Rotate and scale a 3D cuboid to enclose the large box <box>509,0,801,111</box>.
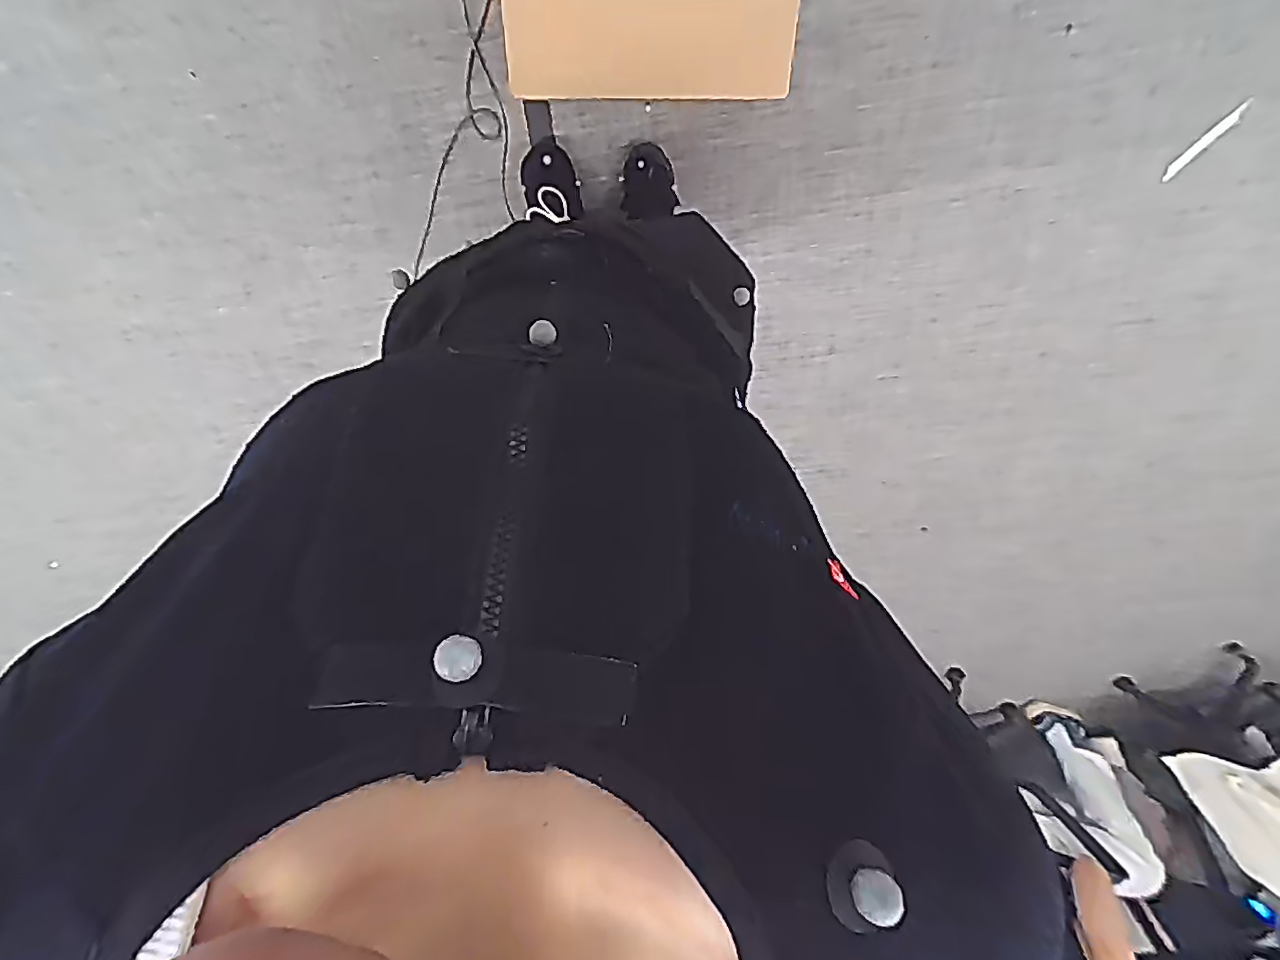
[{"bbox_3d":[0.017,-0.762,0.832,0.408,0.320,0.320,0,126,-1],"label":"large box"}]
